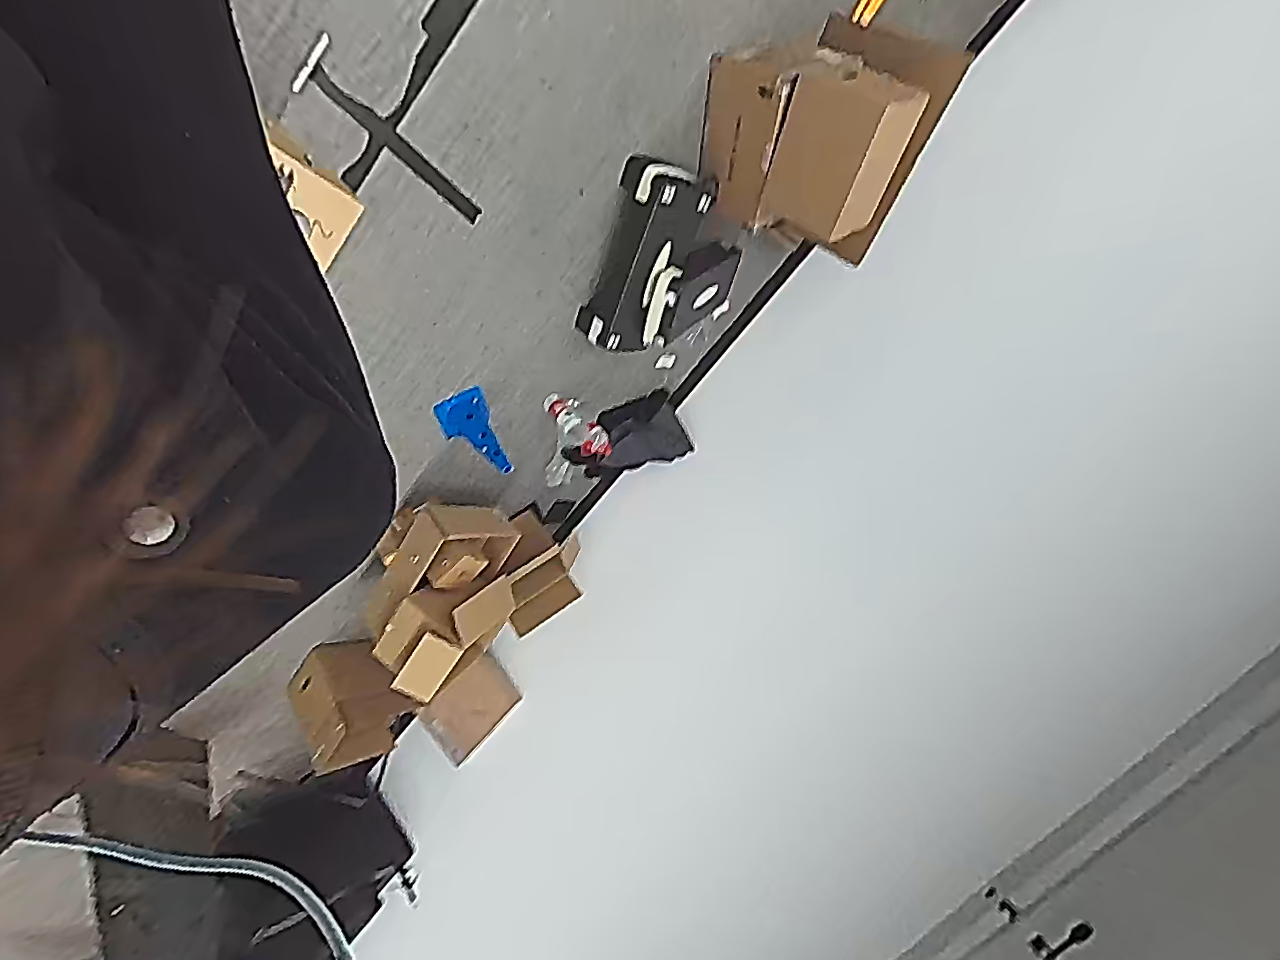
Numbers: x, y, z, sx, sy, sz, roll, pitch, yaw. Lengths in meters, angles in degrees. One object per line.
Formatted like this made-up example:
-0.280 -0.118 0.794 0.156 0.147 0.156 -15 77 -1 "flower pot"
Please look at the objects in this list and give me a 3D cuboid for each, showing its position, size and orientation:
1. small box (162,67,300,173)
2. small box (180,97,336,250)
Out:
-0.860 -0.707 1.132 0.179 0.176 0.168 -49 152 10 "small box"
-0.753 -0.603 1.067 0.168 0.176 0.179 -46 152 6 "small box"
